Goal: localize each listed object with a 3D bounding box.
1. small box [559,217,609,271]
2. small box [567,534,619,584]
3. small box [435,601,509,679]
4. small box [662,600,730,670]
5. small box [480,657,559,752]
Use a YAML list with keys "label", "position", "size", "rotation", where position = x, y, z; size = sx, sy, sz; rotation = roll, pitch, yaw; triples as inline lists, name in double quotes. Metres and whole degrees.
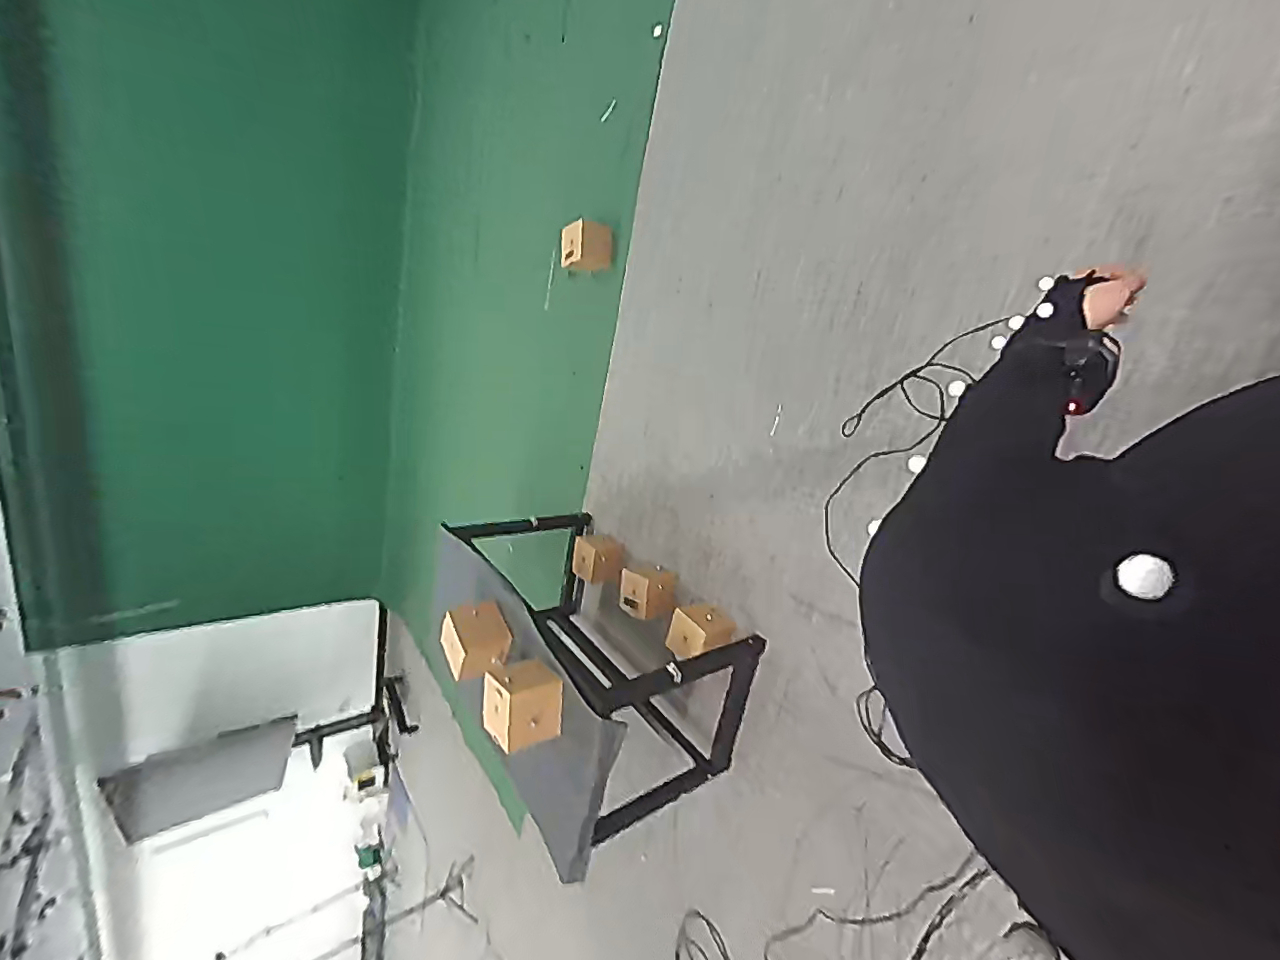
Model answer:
- label: "small box"
  position: [-0.257, -1.073, 2.478]
  size: [0.168, 0.176, 0.179]
  rotation: [7, 96, 49]
- label: "small box"
  position: [-0.216, 0.358, 2.512]
  size: [0.168, 0.176, 0.179]
  rotation: [23, 109, 47]
- label: "small box"
  position: [-0.563, 0.526, 1.810]
  size: [0.179, 0.176, 0.168]
  rotation: [50, 131, 33]
- label: "small box"
  position: [0.212, 0.575, 2.030]
  size: [0.168, 0.176, 0.179]
  rotation: [34, 118, 43]
- label: "small box"
  position: [-0.347, 0.640, 1.563]
  size: [0.168, 0.176, 0.179]
  rotation: [12, 101, 49]
